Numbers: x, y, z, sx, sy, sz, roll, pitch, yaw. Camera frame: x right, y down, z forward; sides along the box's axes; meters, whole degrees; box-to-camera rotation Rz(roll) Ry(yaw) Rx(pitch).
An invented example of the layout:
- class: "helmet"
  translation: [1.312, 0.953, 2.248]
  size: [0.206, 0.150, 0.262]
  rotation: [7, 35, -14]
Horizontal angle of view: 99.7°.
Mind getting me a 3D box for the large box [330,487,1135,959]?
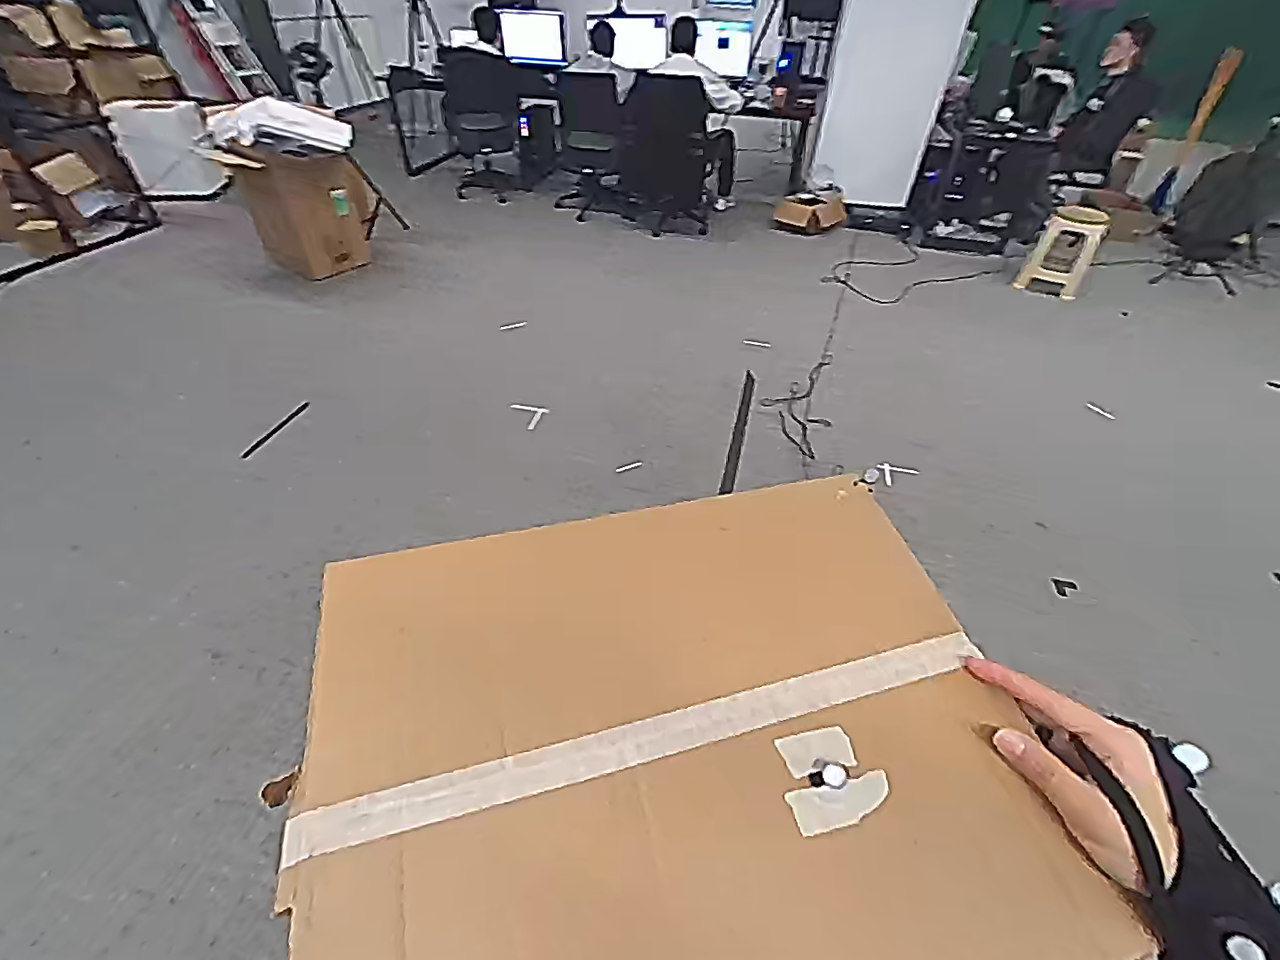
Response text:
- class: "large box"
  translation: [0.018, 0.246, 0.438]
  size: [0.408, 0.320, 0.320]
  rotation: [-9, 53, -14]
